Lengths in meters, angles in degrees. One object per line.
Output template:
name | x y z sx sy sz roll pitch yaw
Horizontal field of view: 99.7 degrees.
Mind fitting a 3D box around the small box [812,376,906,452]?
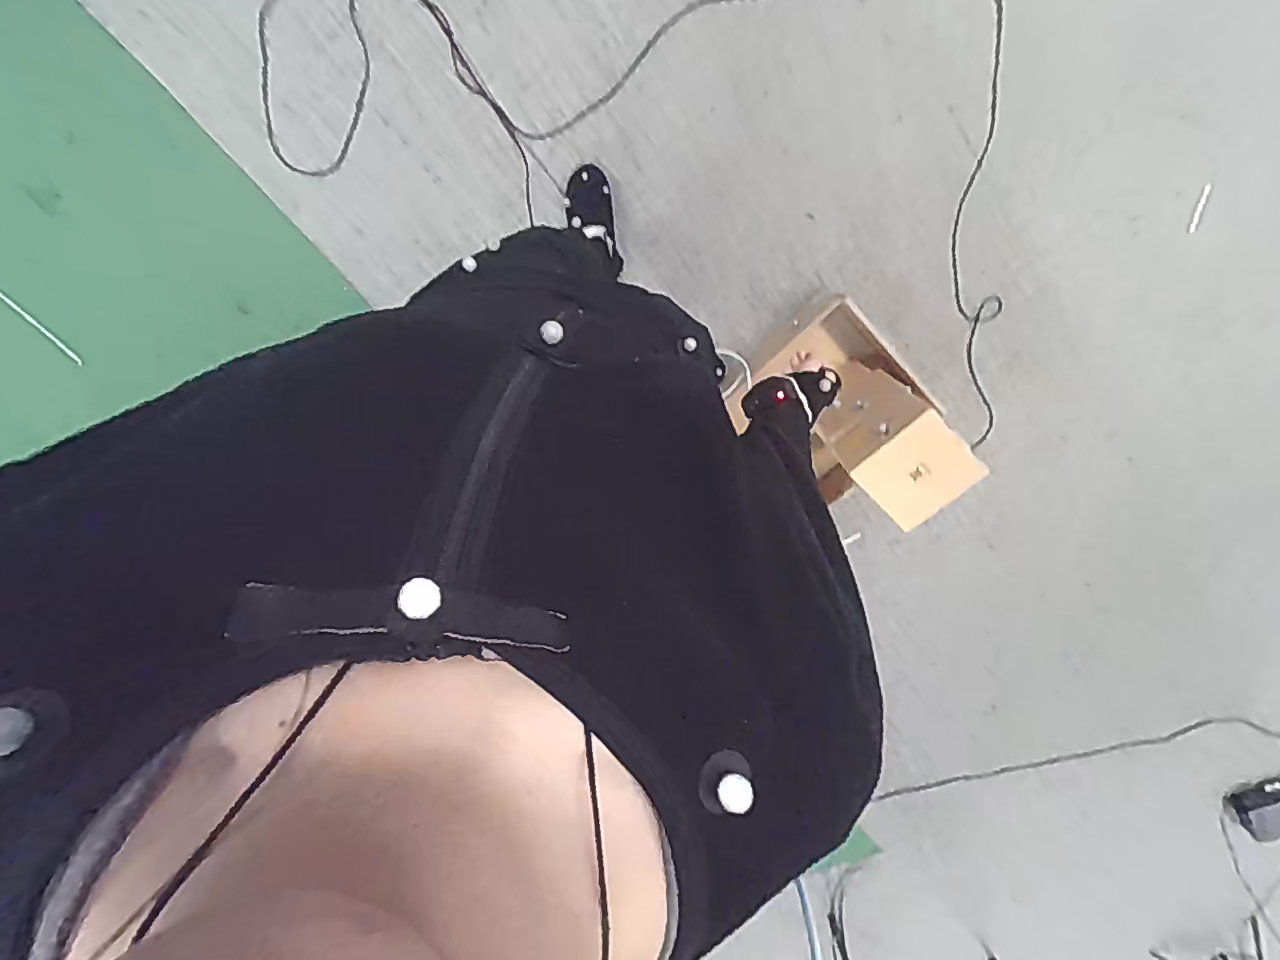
small box | 0.501 -0.101 1.170 0.179 0.176 0.168 -38 104 19

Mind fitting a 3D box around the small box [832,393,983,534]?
small box | 0.488 -0.037 1.022 0.168 0.176 0.179 42 109 -12
